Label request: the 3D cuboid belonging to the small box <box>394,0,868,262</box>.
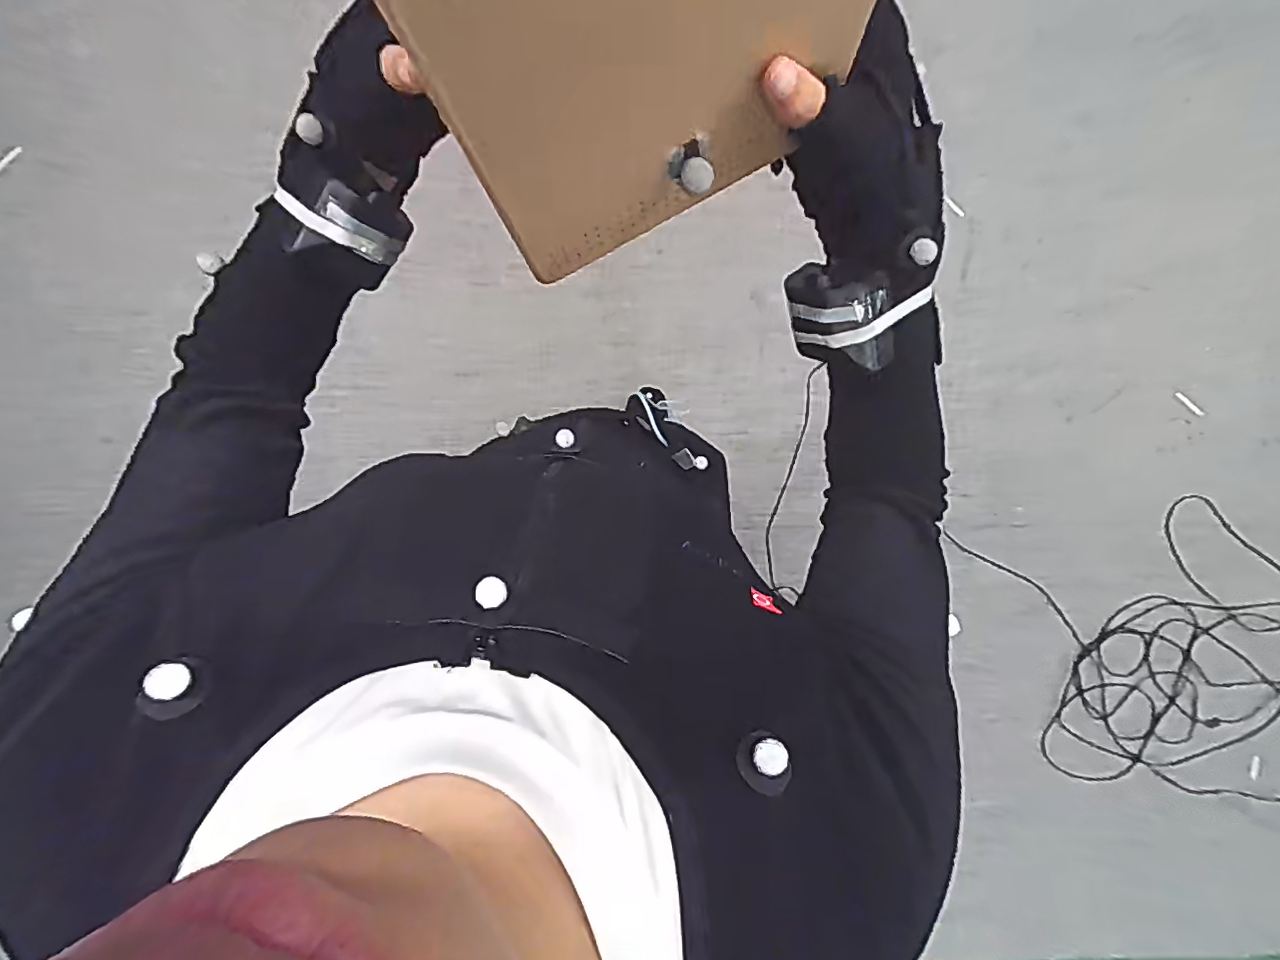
[{"bbox_3d":[-0.016,-0.225,0.210,0.179,0.176,0.168,-28,85,1],"label":"small box"}]
